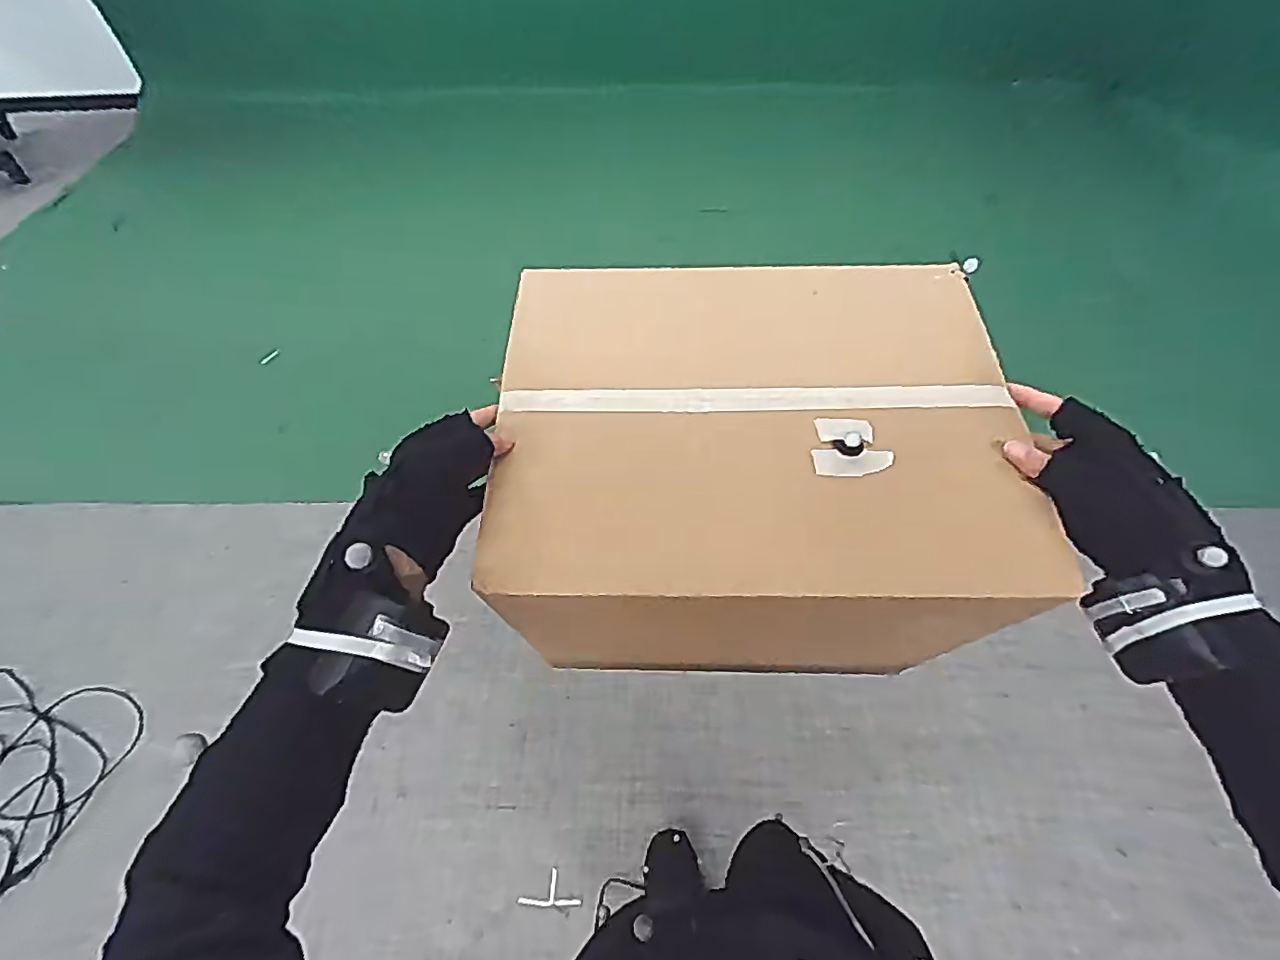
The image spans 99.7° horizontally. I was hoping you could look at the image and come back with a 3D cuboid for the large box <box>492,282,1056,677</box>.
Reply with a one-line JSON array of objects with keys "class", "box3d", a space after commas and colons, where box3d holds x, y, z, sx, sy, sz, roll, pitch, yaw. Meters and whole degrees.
[{"class": "large box", "box3d": [0.093, 0.021, 0.578, 0.408, 0.320, 0.320, -1, 62, 2]}]
